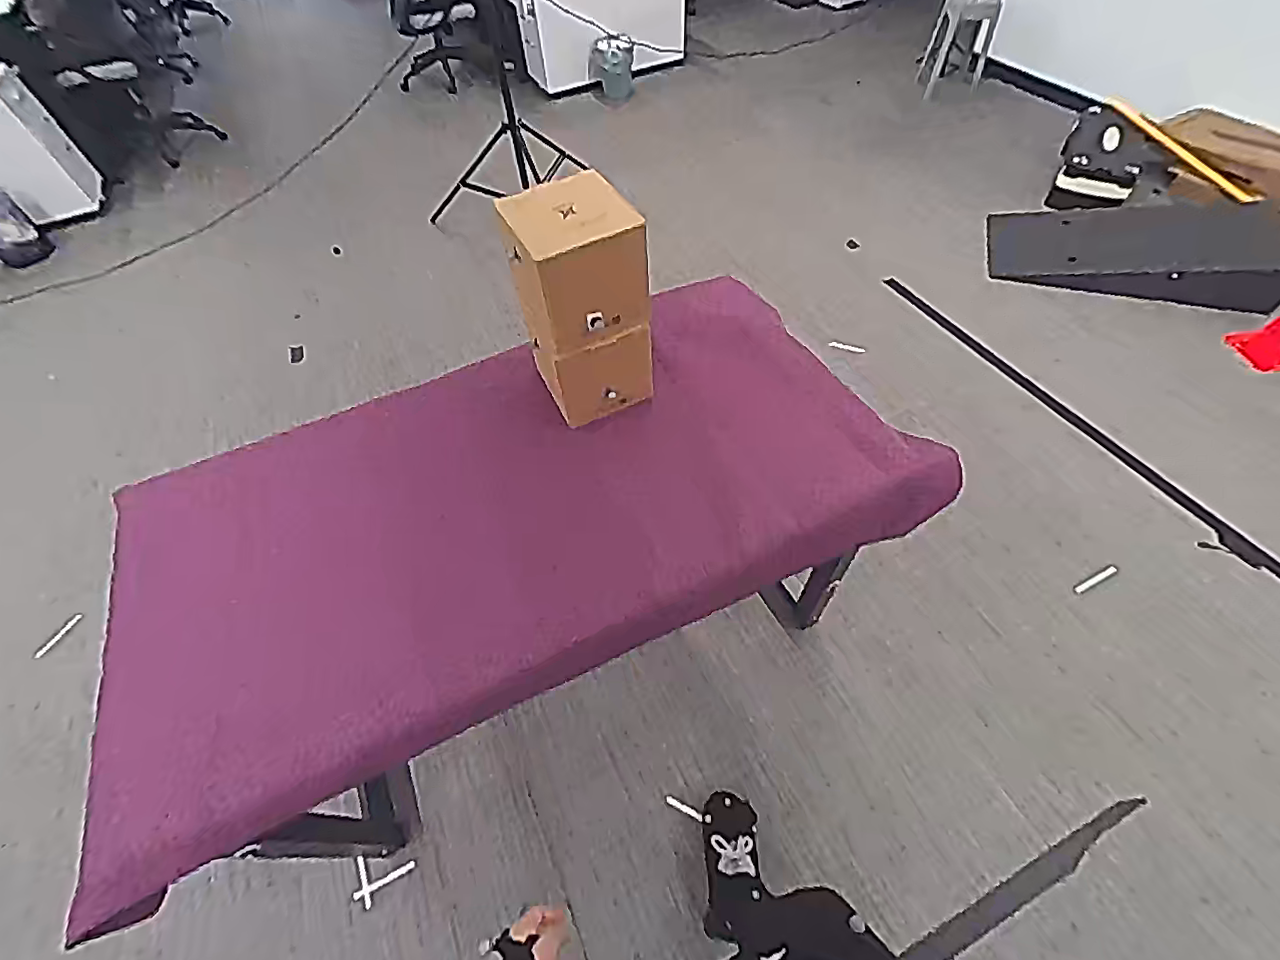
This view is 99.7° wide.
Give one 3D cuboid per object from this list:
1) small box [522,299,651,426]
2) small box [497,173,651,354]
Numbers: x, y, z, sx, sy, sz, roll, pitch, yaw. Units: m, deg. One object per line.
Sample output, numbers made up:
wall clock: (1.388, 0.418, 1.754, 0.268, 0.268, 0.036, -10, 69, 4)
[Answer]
small box: (-0.090, -0.228, 0.953, 0.168, 0.176, 0.179, -24, 58, -12)
small box: (-0.095, -0.326, 0.824, 0.168, 0.176, 0.179, -26, 59, -13)
